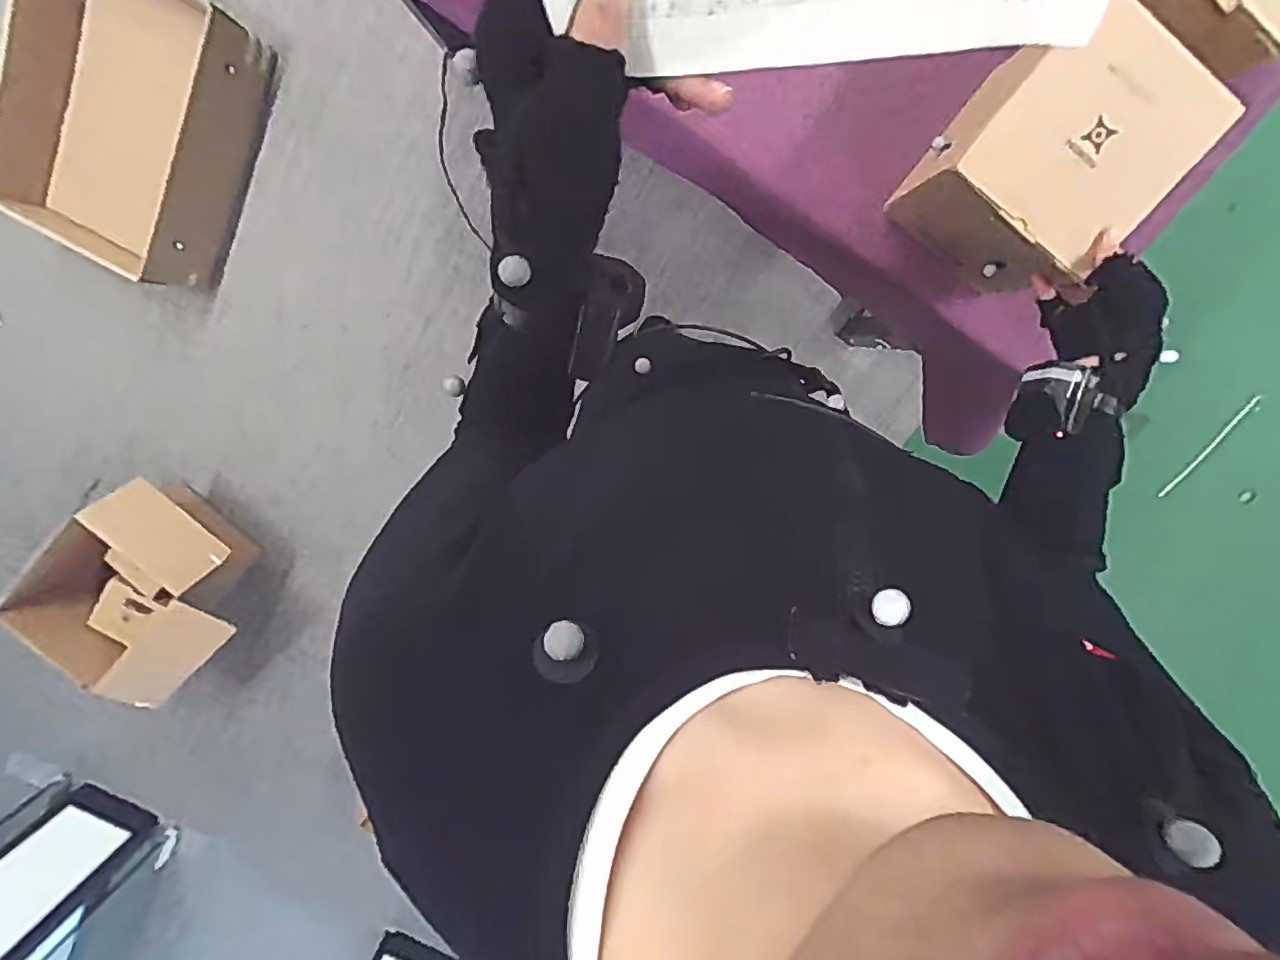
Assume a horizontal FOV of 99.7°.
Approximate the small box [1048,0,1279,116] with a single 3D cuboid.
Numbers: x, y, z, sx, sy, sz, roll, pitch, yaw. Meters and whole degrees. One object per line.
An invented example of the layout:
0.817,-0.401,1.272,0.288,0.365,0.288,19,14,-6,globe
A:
0.520,-0.479,0.485,0.168,0.176,0.179,39,105,-7,small box
